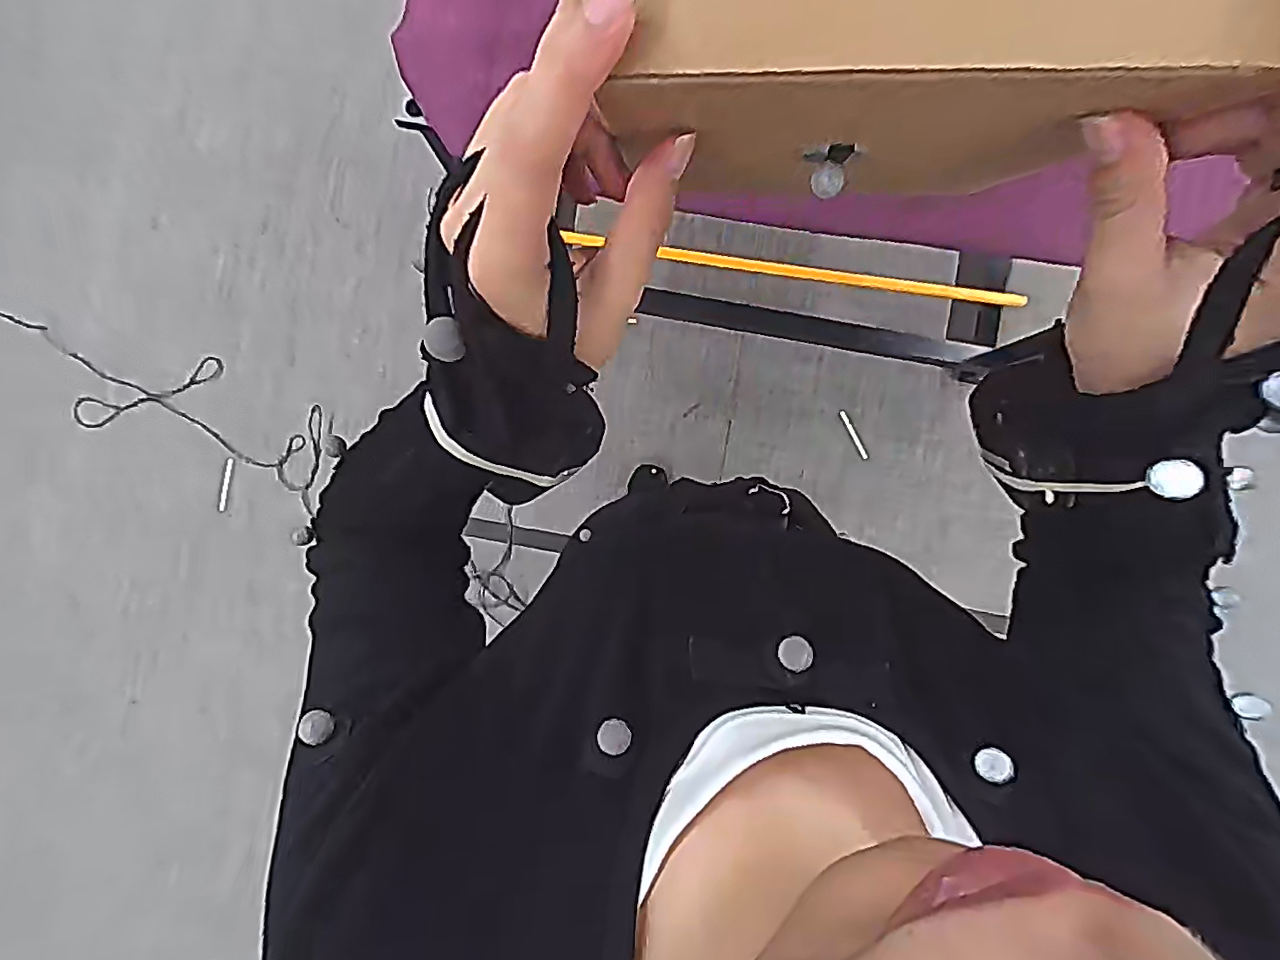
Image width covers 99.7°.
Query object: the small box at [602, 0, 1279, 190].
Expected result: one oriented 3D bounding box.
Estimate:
[{"bbox_3d":[0.084,-0.200,0.173,0.179,0.176,0.168,2,109,4],"label":"small box"}]
